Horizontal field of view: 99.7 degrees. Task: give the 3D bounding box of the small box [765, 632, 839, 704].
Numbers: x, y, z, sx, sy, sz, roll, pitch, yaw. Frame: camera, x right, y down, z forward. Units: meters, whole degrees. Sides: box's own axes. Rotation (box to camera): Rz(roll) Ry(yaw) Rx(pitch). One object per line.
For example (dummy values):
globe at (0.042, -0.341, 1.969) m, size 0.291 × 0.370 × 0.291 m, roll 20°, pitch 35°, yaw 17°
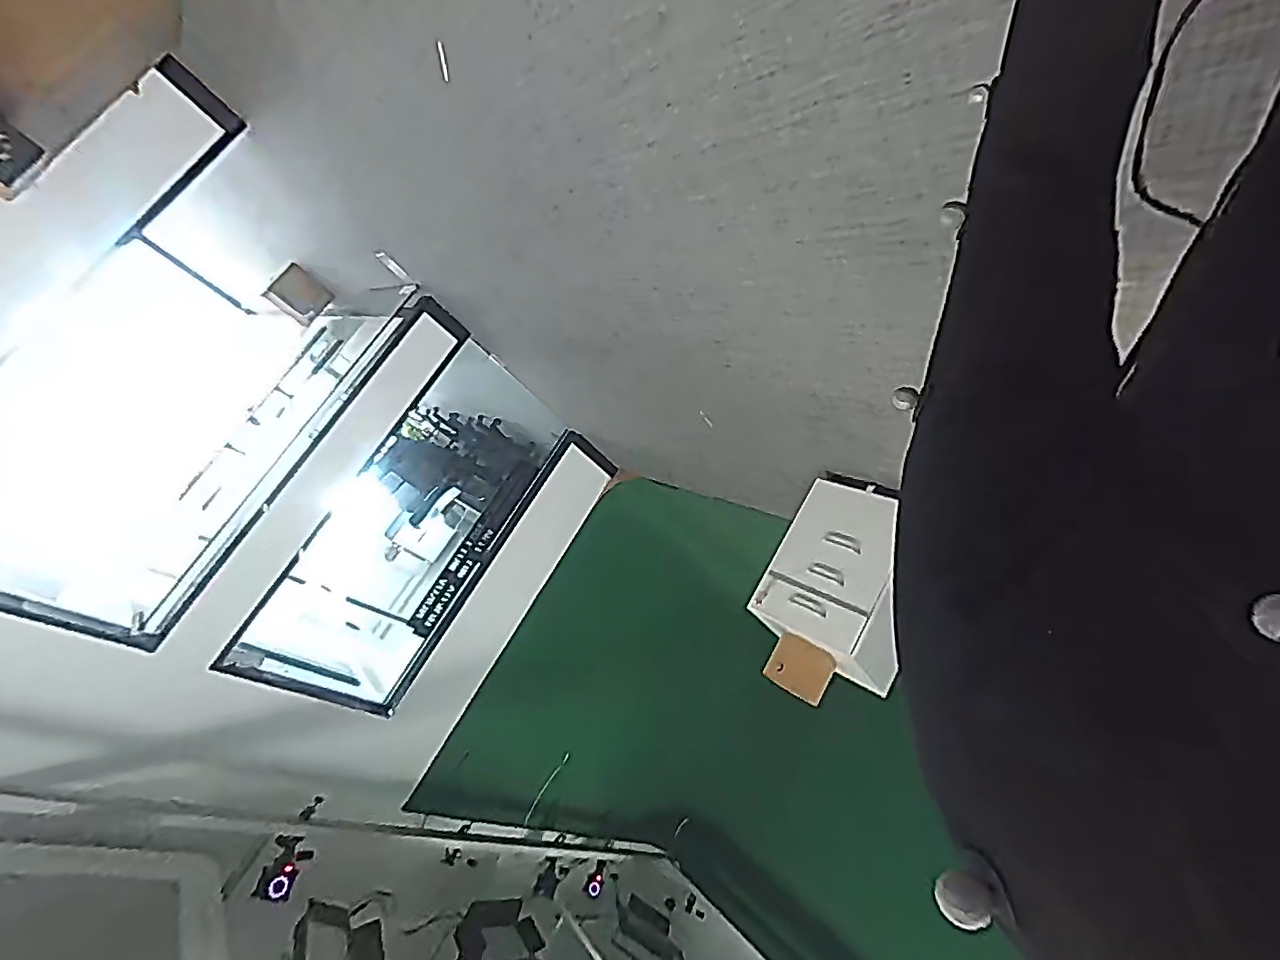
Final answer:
small box at (0.565, 0.644, 1.878) m, size 0.179 × 0.176 × 0.168 m, roll 22°, pitch 165°, yaw 36°
